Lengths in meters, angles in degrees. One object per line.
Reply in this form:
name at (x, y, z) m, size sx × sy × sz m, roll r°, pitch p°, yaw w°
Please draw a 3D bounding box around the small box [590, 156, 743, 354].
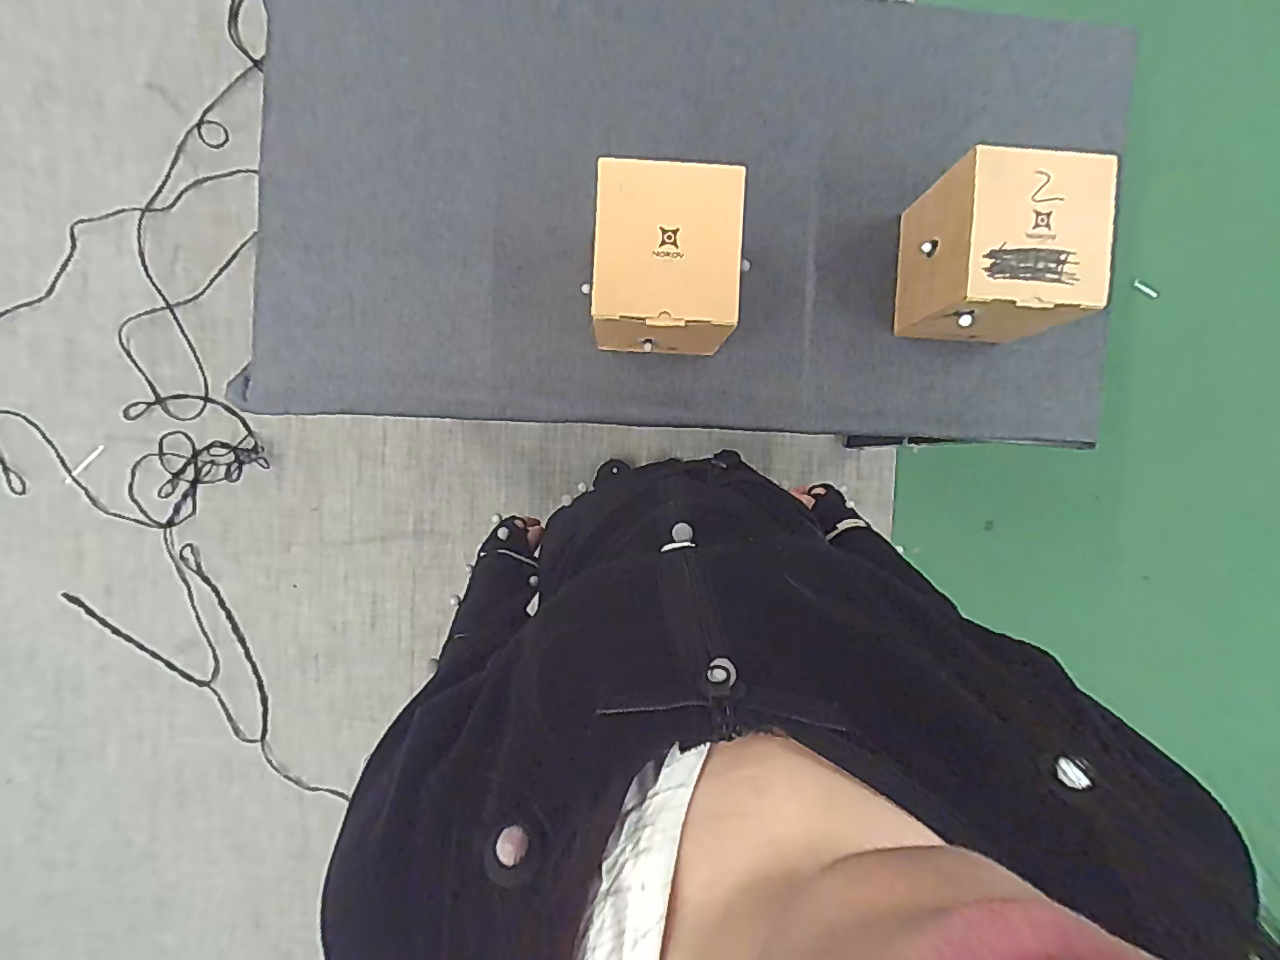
small box at (0.025, -0.266, 0.676) m, size 0.168 × 0.176 × 0.179 m, roll 2°, pitch 92°, yaw -3°
